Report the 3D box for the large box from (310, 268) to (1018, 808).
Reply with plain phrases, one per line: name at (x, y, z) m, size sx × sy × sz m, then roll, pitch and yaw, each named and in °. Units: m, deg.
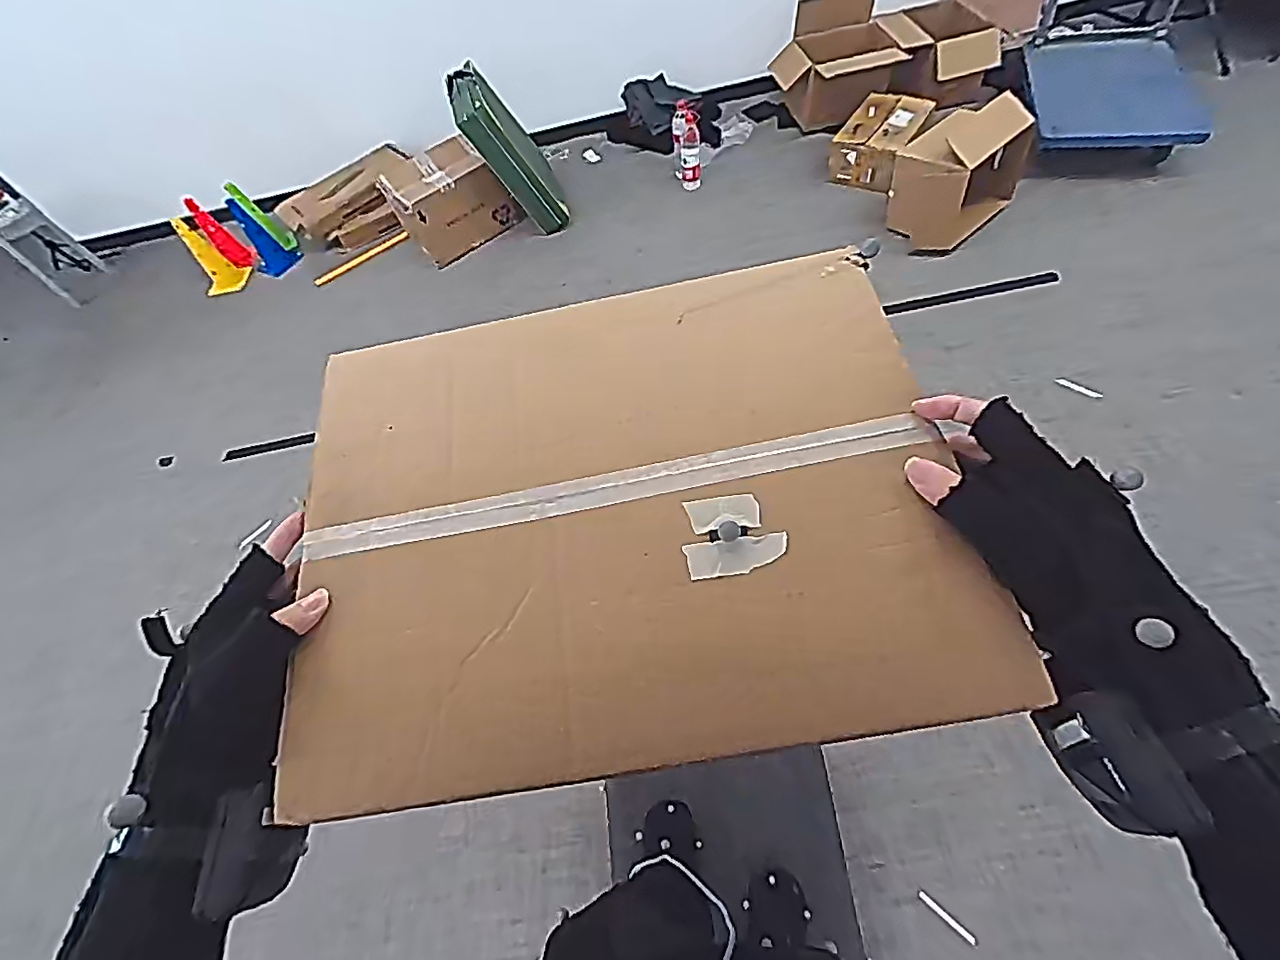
large box at (0.002, 0.072, 0.491) m, size 0.408 × 0.320 × 0.320 m, roll -10°, pitch 65°, yaw 3°
